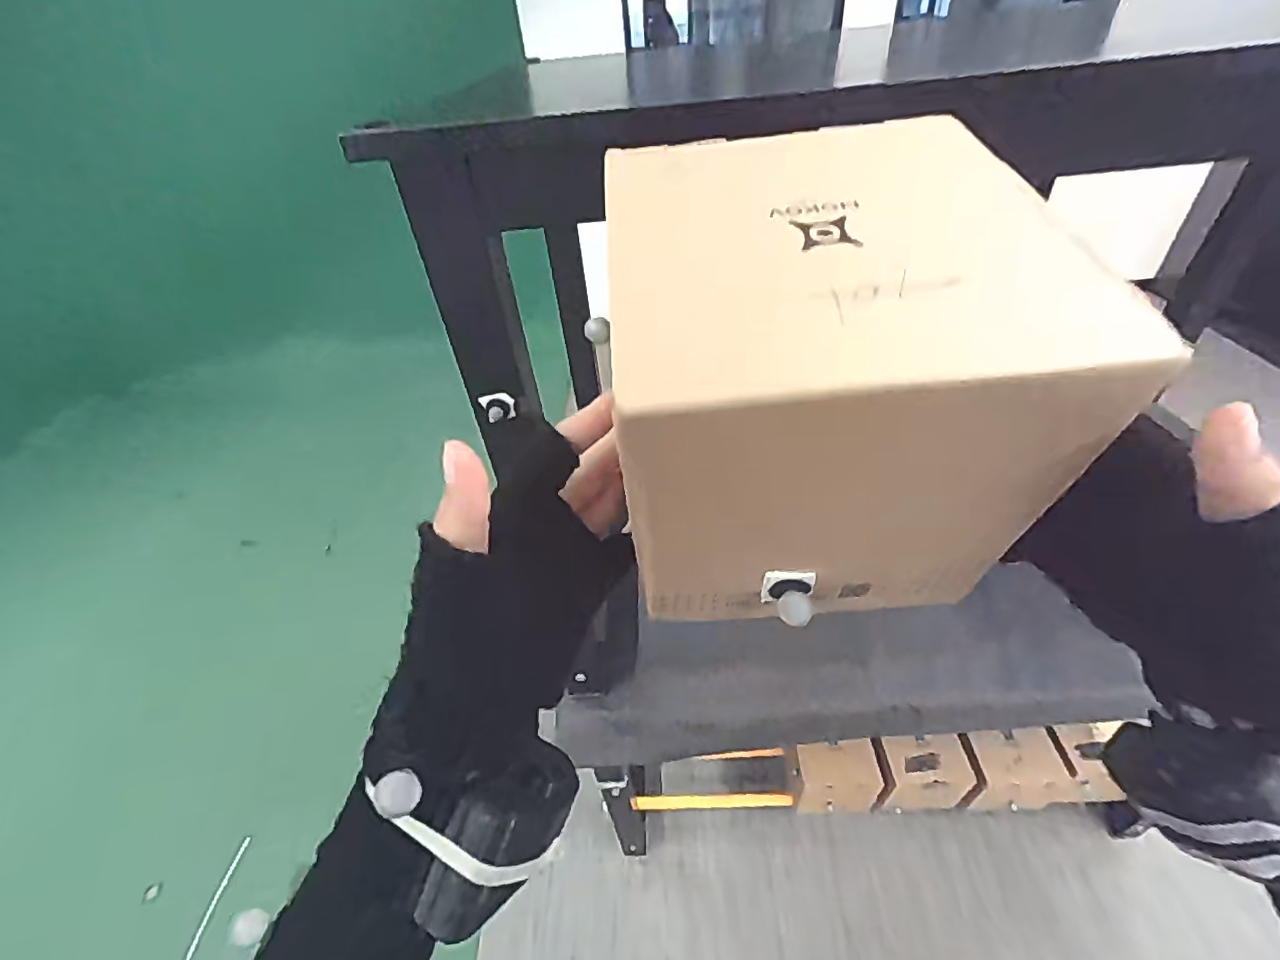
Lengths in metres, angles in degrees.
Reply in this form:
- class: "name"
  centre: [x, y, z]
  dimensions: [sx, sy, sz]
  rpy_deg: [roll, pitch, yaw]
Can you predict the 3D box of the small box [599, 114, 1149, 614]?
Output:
- class: "small box"
  centre: [0.071, -0.051, 0.275]
  dimensions: [0.168, 0.176, 0.179]
  rpy_deg: [-6, 54, 2]
